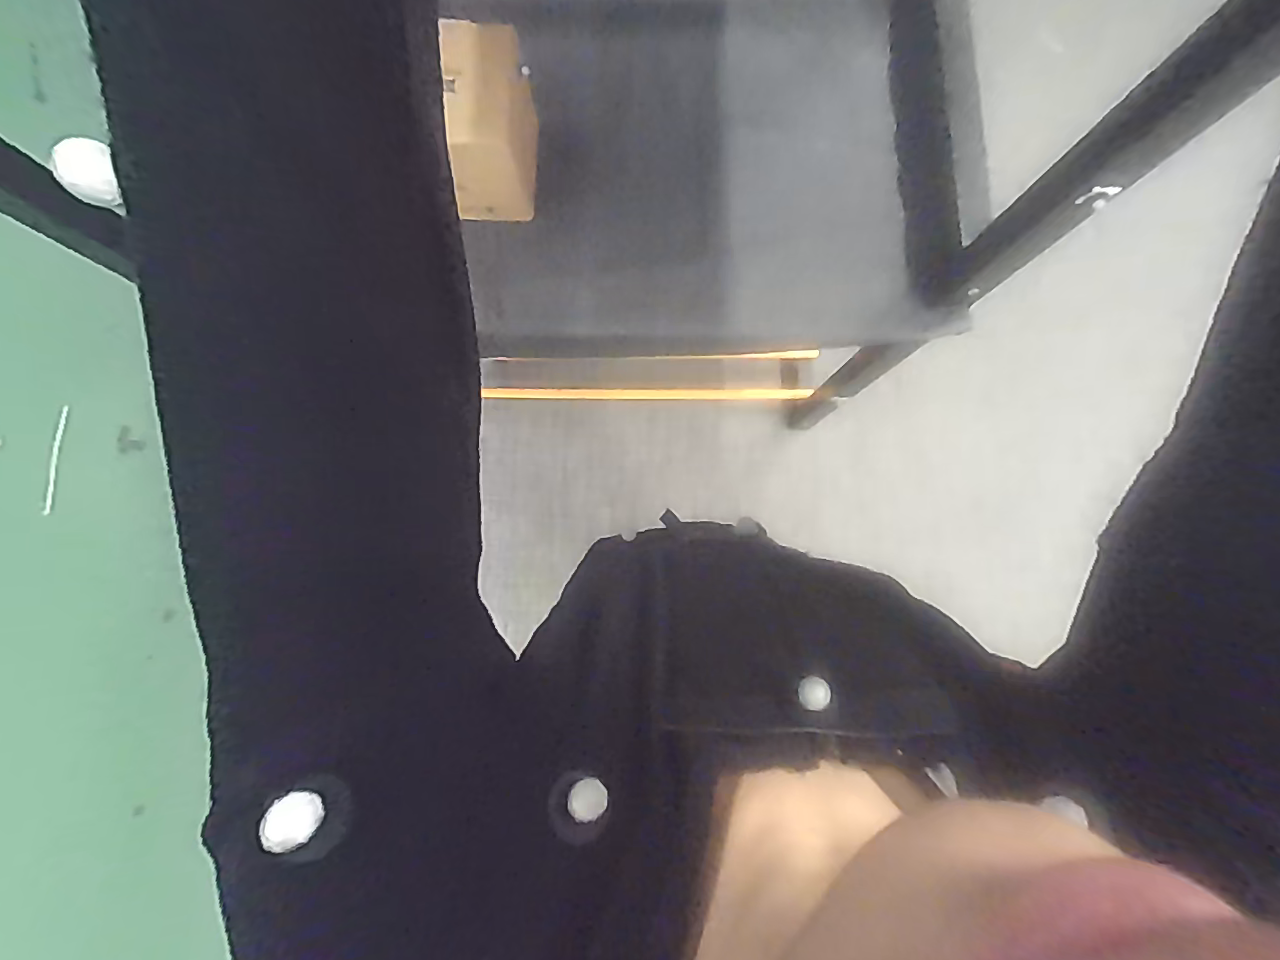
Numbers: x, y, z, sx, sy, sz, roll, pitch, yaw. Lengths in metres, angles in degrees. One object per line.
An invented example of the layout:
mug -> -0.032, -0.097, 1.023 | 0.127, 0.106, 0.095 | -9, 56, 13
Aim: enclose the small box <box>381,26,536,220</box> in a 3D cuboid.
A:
small box -> -0.248, -0.501, 0.780 | 0.168, 0.176, 0.179 | 1, 82, 0
